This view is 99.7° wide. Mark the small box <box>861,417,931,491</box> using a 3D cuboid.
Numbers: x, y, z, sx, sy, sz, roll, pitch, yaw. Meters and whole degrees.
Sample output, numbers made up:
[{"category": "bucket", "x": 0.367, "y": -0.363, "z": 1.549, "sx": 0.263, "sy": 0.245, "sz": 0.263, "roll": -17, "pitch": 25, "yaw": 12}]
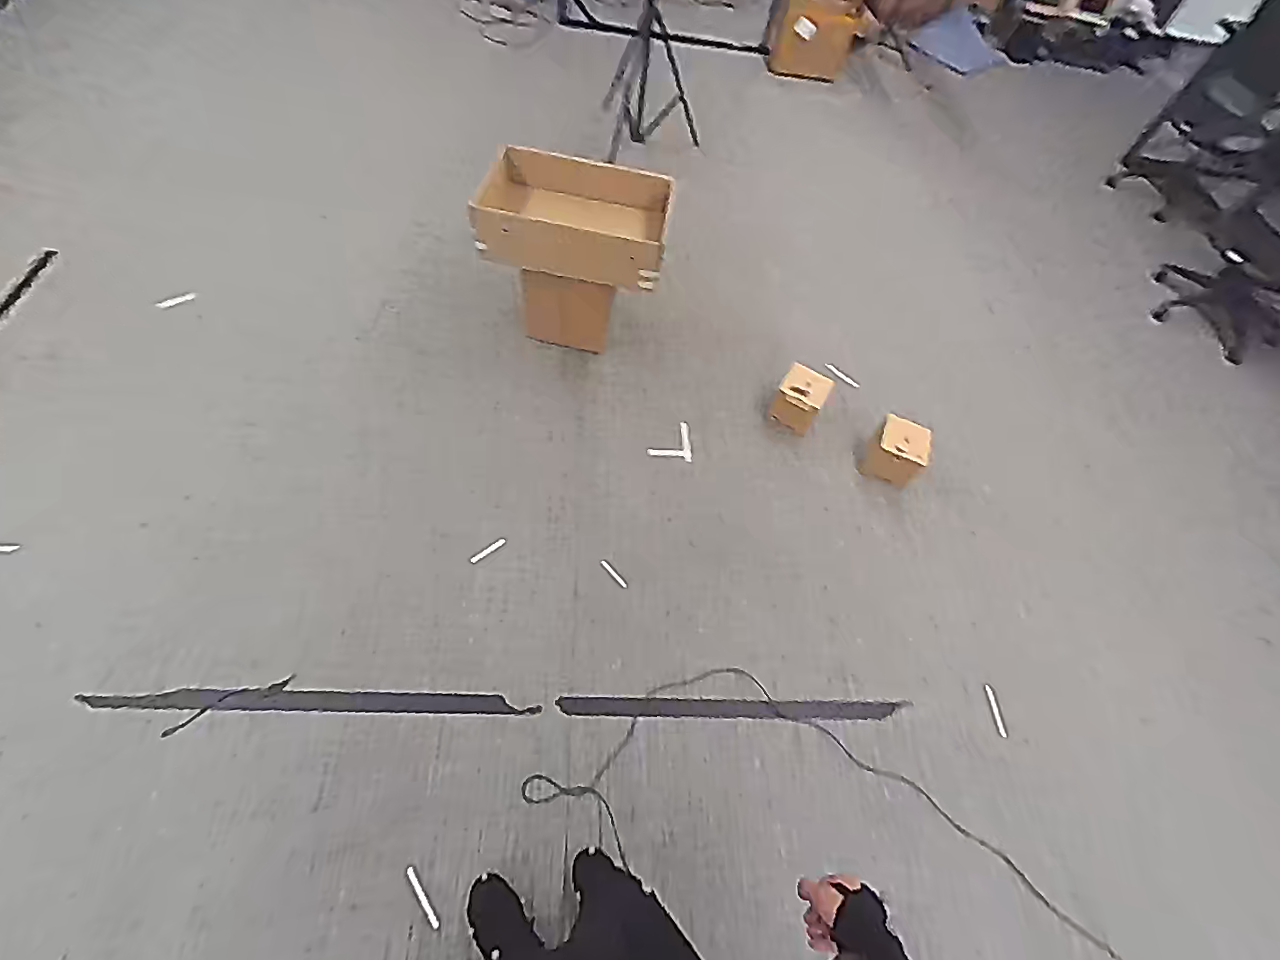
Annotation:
[{"category": "small box", "x": 0.936, "y": -0.093, "z": 1.985, "sx": 0.168, "sy": 0.176, "sz": 0.179, "roll": 23, "pitch": 57, "yaw": 7}]

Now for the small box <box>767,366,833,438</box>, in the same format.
[{"category": "small box", "x": 0.602, "y": -0.292, "z": 2.061, "sx": 0.168, "sy": 0.176, "sz": 0.179, "roll": 30, "pitch": 59, "yaw": 10}]
